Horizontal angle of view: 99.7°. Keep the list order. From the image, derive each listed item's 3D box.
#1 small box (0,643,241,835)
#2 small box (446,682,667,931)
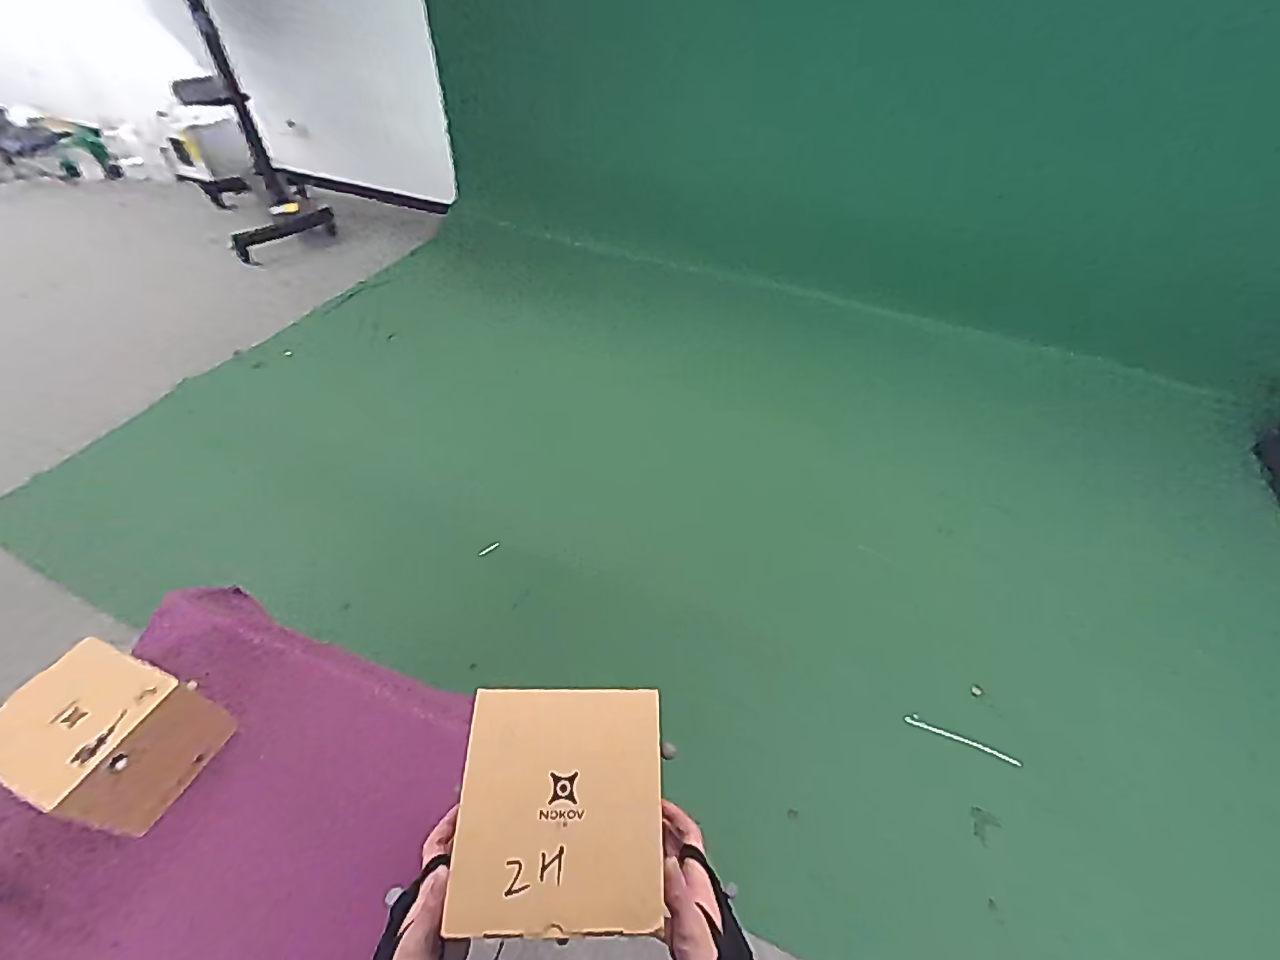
[{"bbox_3d":[-0.719,0.361,0.749,0.179,0.176,0.168,17,50,13],"label":"small box"},{"bbox_3d":[-0.063,0.302,0.509,0.168,0.176,0.179,1,56,-1],"label":"small box"}]
